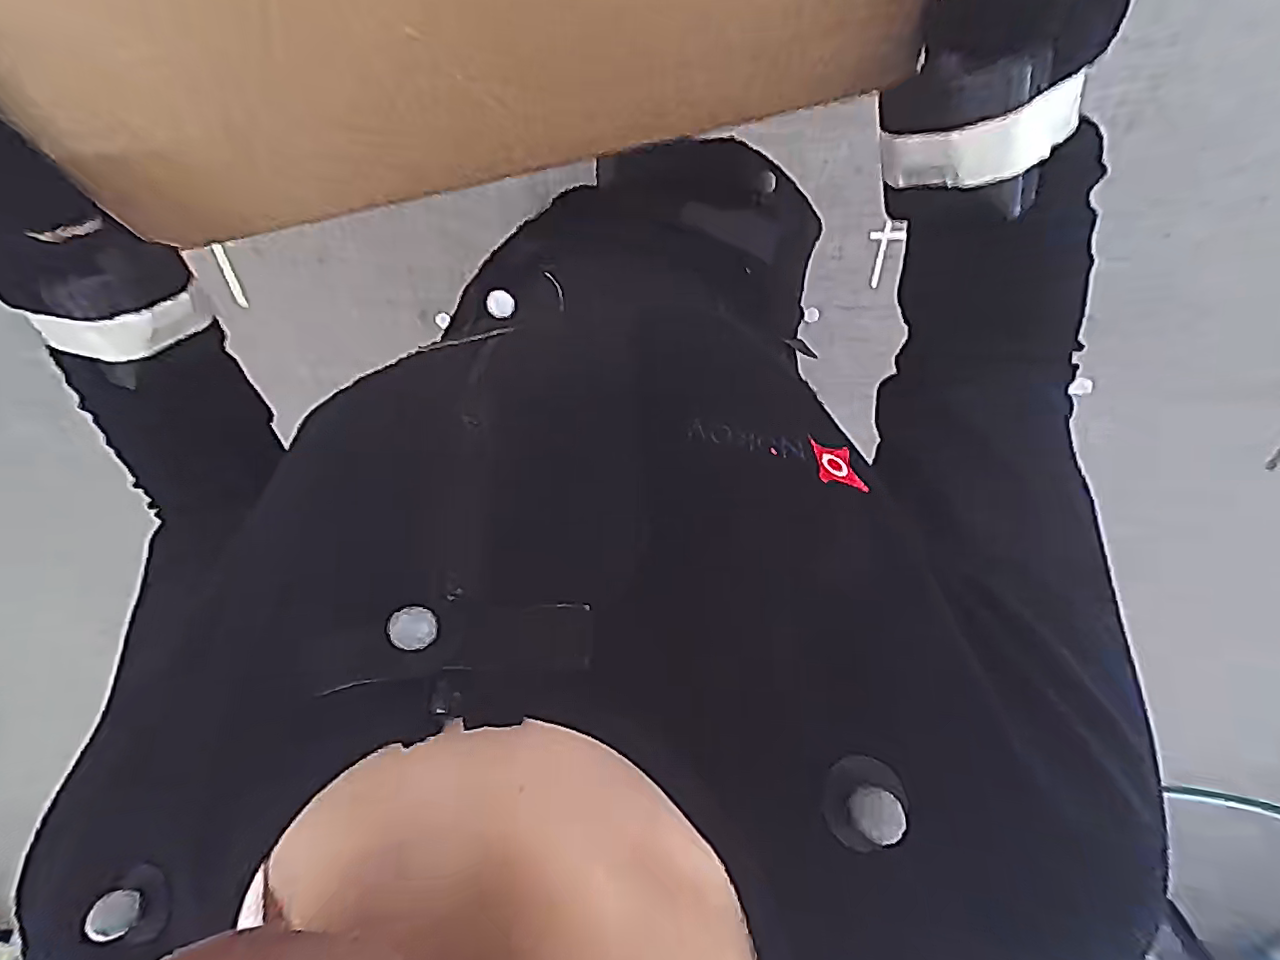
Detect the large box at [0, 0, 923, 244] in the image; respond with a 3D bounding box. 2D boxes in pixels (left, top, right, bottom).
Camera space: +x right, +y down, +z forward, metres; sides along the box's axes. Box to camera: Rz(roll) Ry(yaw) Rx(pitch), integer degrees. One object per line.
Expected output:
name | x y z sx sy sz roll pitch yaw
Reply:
large box | -0.101 -0.360 0.209 0.408 0.320 0.320 -9 157 6
